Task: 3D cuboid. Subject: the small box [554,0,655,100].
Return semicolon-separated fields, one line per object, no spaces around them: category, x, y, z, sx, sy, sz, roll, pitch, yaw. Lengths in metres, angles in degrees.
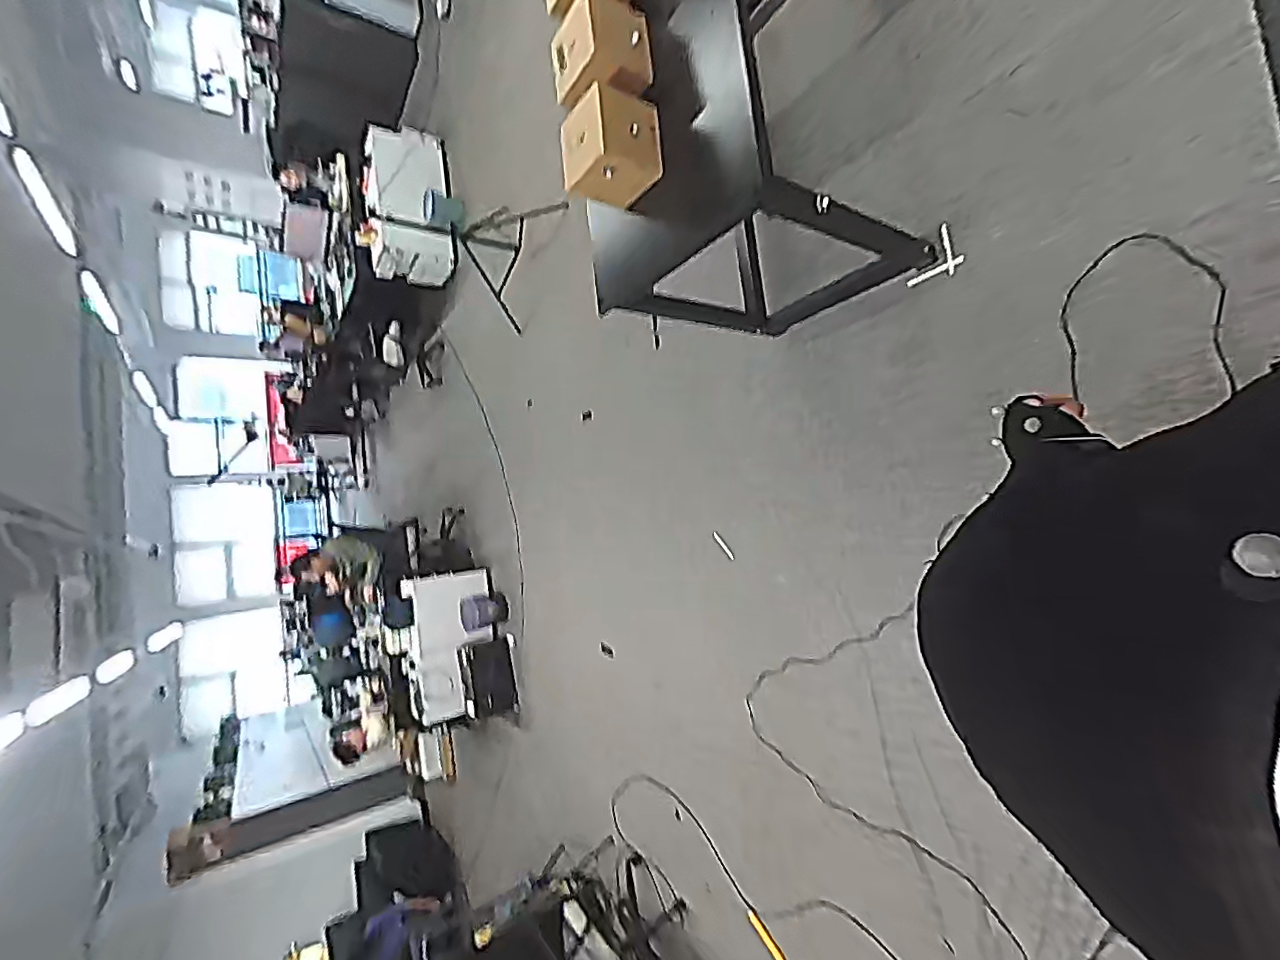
small box;-0.086;-1.016;1.289;0.179;0.176;0.168;-15;81;52

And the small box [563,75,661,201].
small box;-0.063;-0.794;1.276;0.179;0.176;0.168;-8;86;54
